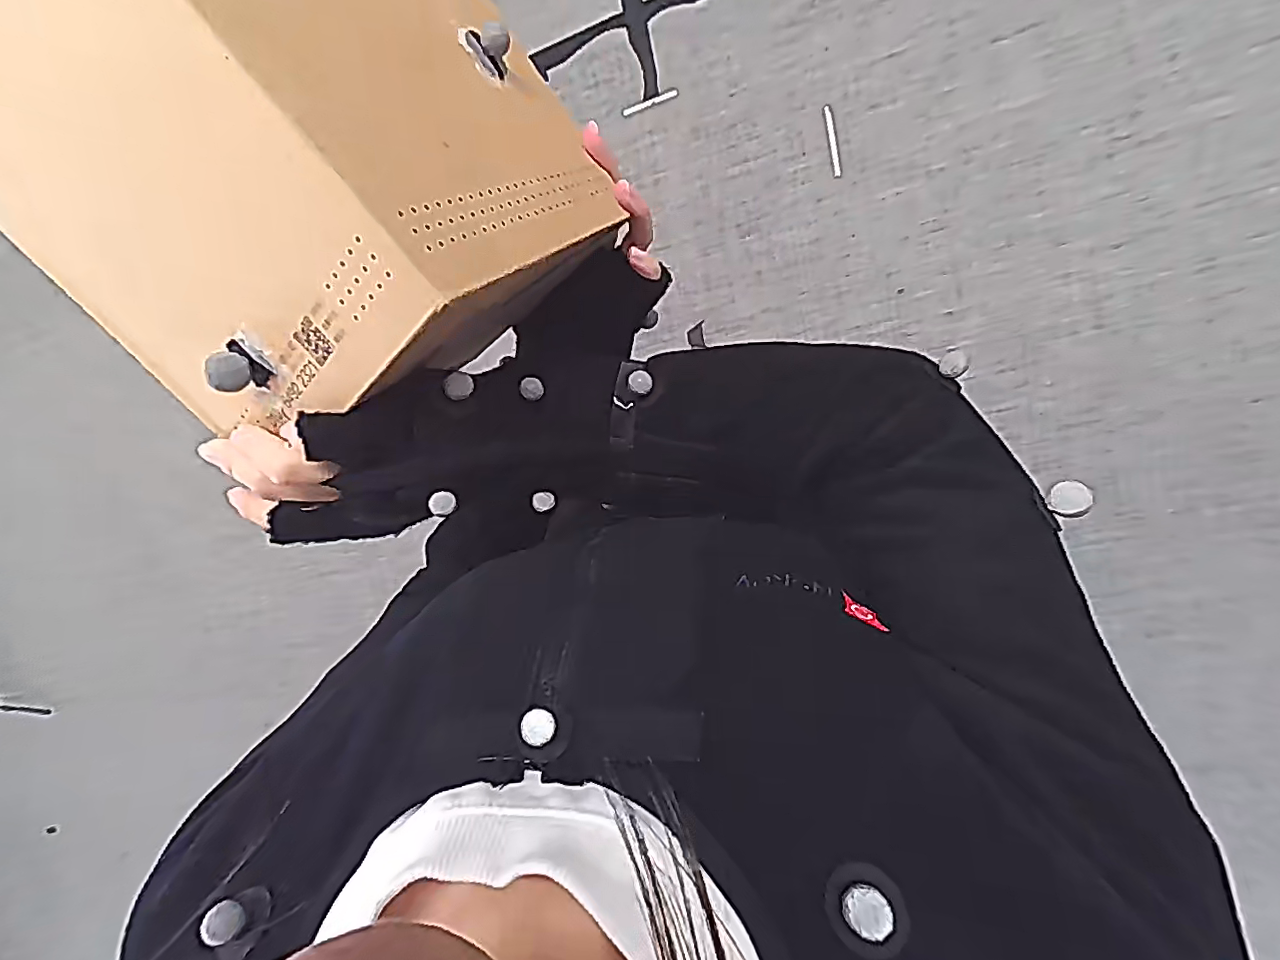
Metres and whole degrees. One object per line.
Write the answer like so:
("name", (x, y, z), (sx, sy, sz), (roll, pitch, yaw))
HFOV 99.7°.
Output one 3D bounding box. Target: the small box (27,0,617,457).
("small box", (-0.137, -0.141, 0.280), (0.168, 0.179, 0.176), (-28, 109, 36))
